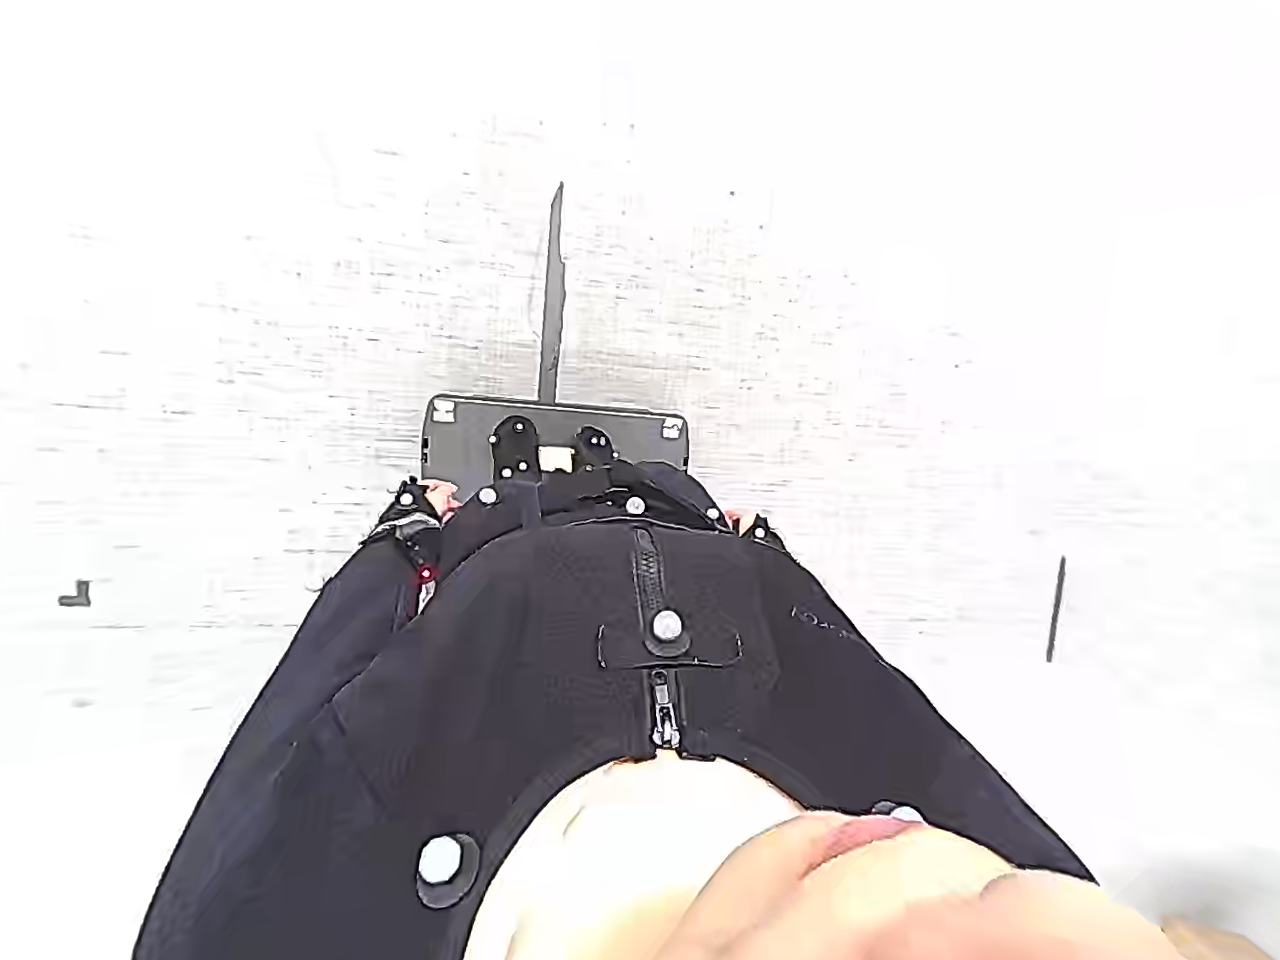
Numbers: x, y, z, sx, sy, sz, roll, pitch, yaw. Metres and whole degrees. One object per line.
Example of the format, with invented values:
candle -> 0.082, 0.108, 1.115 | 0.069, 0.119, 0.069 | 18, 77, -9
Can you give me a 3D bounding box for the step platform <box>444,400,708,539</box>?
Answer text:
step platform -> -0.163, -0.025, 1.449 | 0.684, 0.204, 0.286 | 8, 94, -12
